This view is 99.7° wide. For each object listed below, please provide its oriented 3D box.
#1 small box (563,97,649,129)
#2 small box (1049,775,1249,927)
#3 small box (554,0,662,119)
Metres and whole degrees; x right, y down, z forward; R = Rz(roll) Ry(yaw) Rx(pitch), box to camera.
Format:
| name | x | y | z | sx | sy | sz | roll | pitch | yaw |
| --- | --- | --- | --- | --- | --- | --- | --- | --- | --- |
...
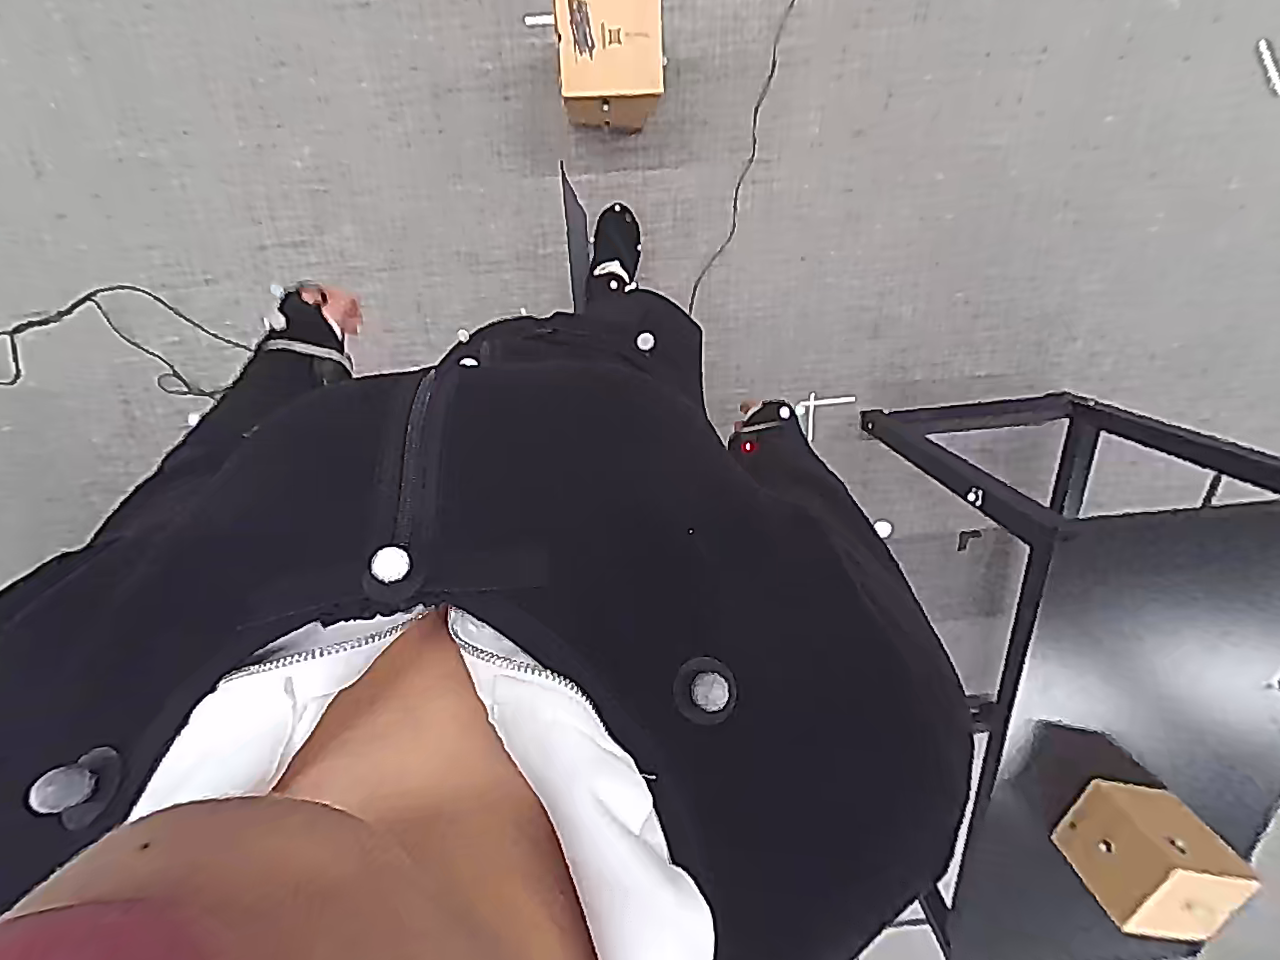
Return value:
| name | x | y | z | sx | sy | sz | roll | pitch | yaw |
| --- | --- | --- | --- | --- | --- | --- | --- | --- | --- |
| small box | -0.067 | -0.841 | 1.117 | 0.179 | 0.176 | 0.168 | 2 | 112 | -5 |
| small box | 0.925 | 0.681 | 1.005 | 0.179 | 0.176 | 0.168 | 12 | 111 | -8 |
| small box | -0.054 | -0.763 | 0.970 | 0.179 | 0.176 | 0.168 | -3 | 113 | -2 |
